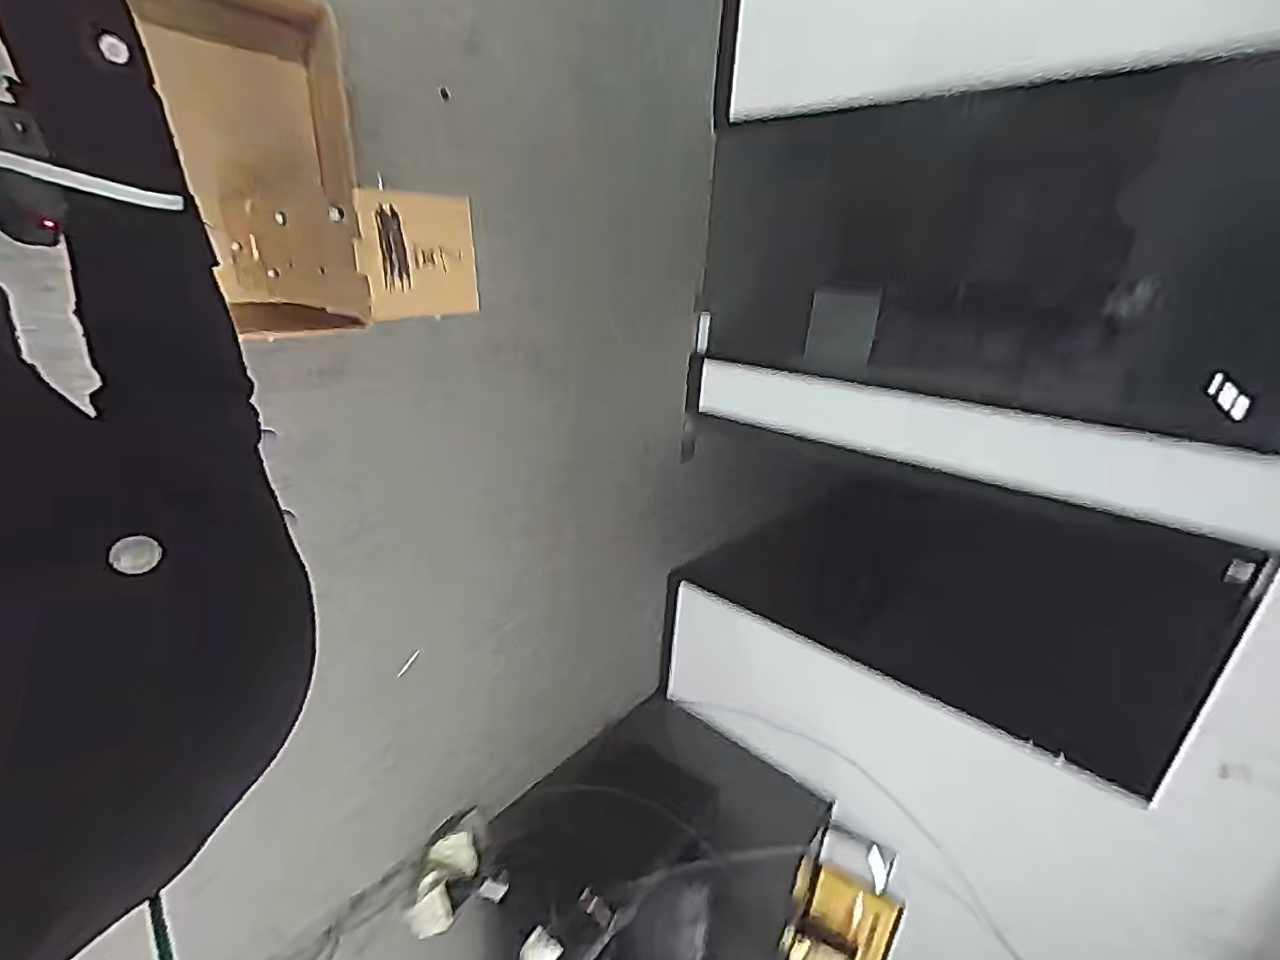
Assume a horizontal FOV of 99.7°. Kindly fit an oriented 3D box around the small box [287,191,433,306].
[{"bbox_3d":[-0.490,-0.397,0.945,0.179,0.176,0.168,-20,122,-46],"label":"small box"}]

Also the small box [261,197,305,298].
[{"bbox_3d":[-0.597,-0.438,1.038,0.179,0.176,0.168,-21,121,-46],"label":"small box"}]

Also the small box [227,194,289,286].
[{"bbox_3d":[-0.736,-0.499,1.139,0.179,0.176,0.168,-27,124,-44],"label":"small box"}]
